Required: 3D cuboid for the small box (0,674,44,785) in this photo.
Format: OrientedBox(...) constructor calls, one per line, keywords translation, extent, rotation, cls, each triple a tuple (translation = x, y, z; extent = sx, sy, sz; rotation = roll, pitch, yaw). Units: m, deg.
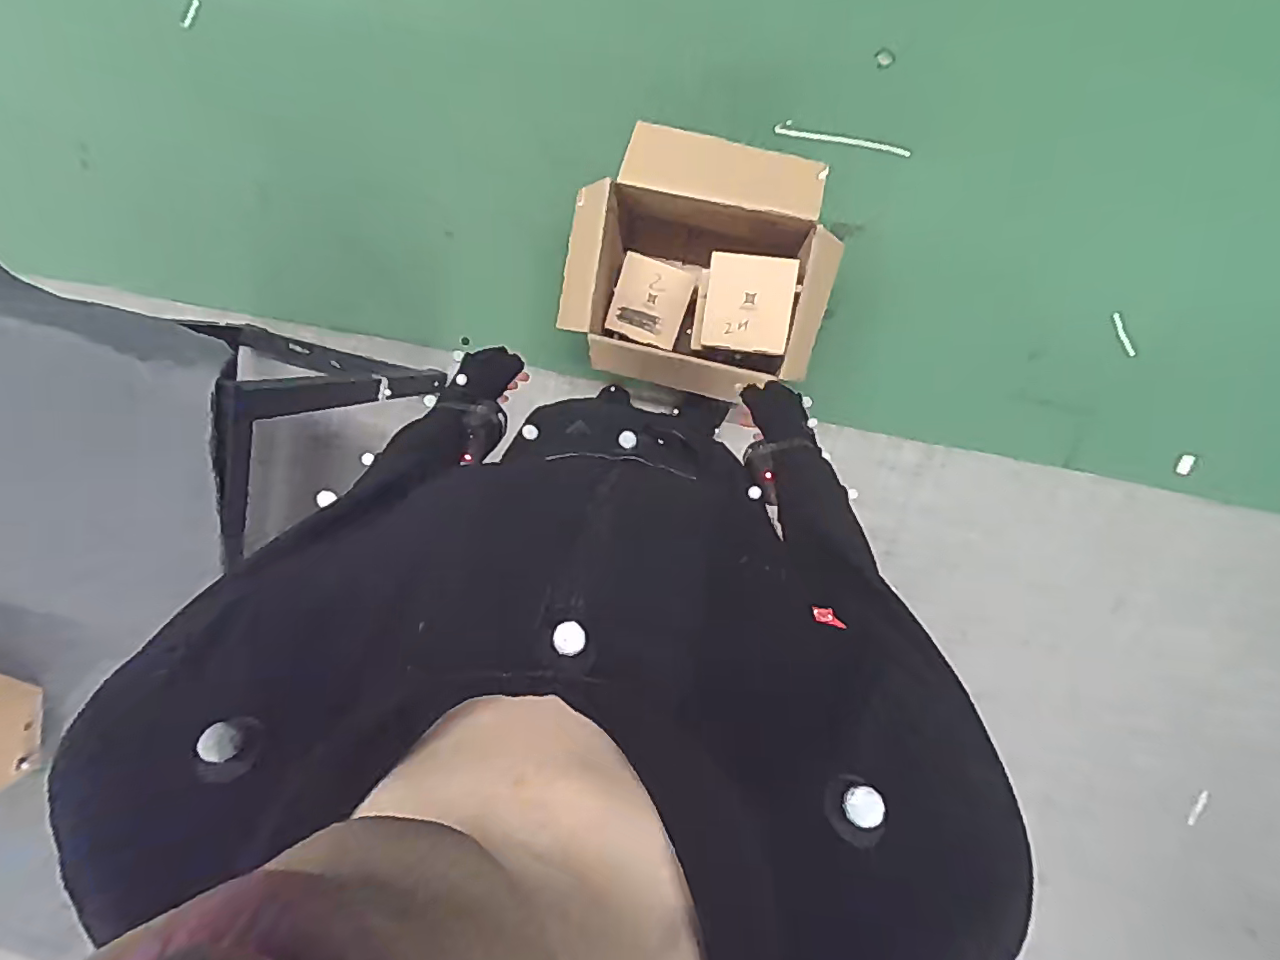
OrientedBox(translation=(-1.100, 0.408, 0.844), extent=(0.179, 0.176, 0.168), rotation=(17, 104, 1), cls="small box")
